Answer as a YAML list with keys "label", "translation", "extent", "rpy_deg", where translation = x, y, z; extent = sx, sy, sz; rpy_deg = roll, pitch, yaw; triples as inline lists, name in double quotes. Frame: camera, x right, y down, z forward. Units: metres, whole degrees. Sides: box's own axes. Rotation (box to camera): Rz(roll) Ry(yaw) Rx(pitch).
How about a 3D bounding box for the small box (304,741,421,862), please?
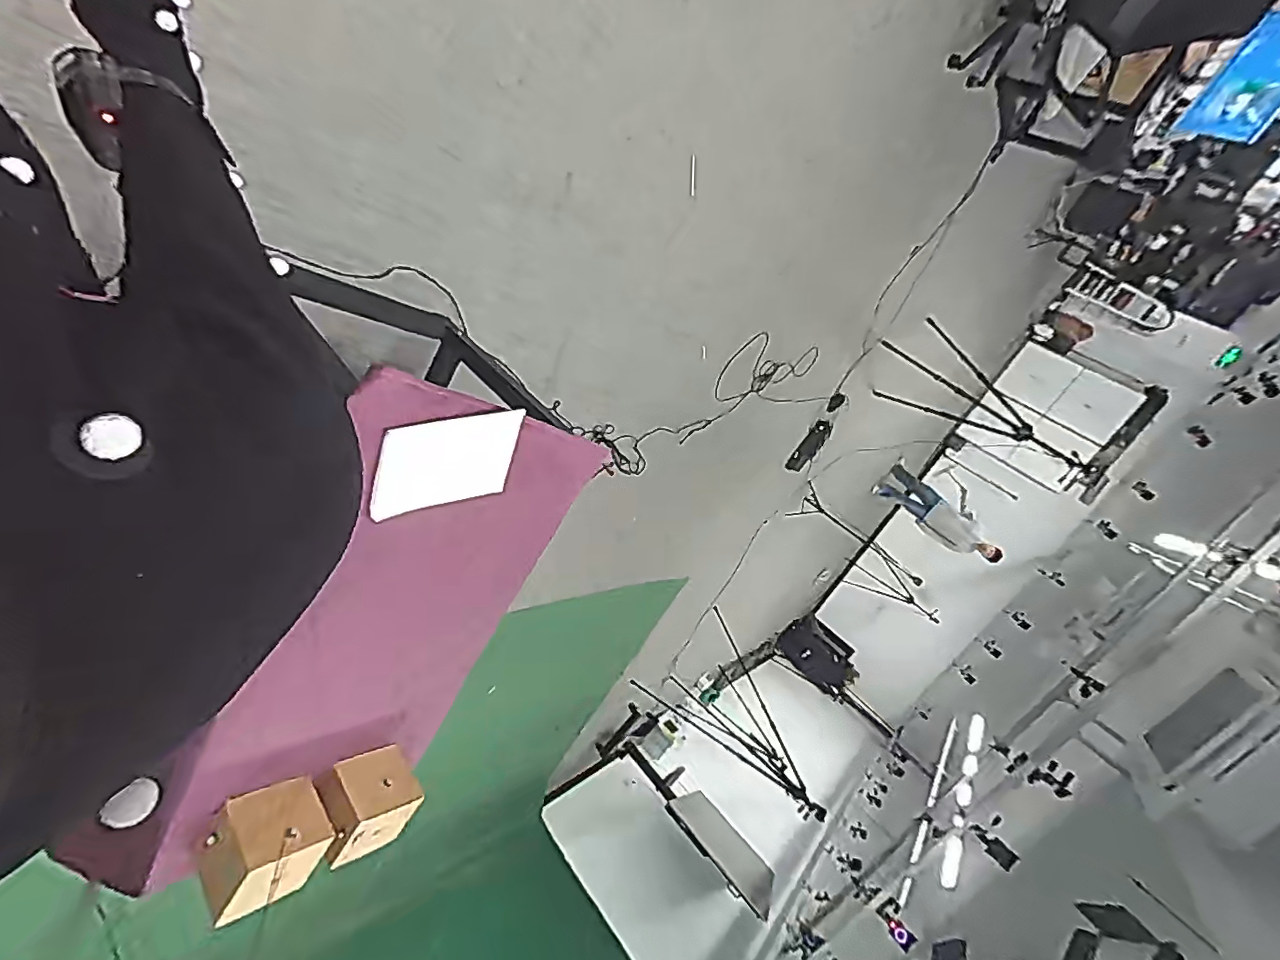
- label: "small box"
  translation: [-0.698, 0.794, 1.359]
  extent: [0.168, 0.176, 0.179]
  rpy_deg: [-56, 152, 11]
